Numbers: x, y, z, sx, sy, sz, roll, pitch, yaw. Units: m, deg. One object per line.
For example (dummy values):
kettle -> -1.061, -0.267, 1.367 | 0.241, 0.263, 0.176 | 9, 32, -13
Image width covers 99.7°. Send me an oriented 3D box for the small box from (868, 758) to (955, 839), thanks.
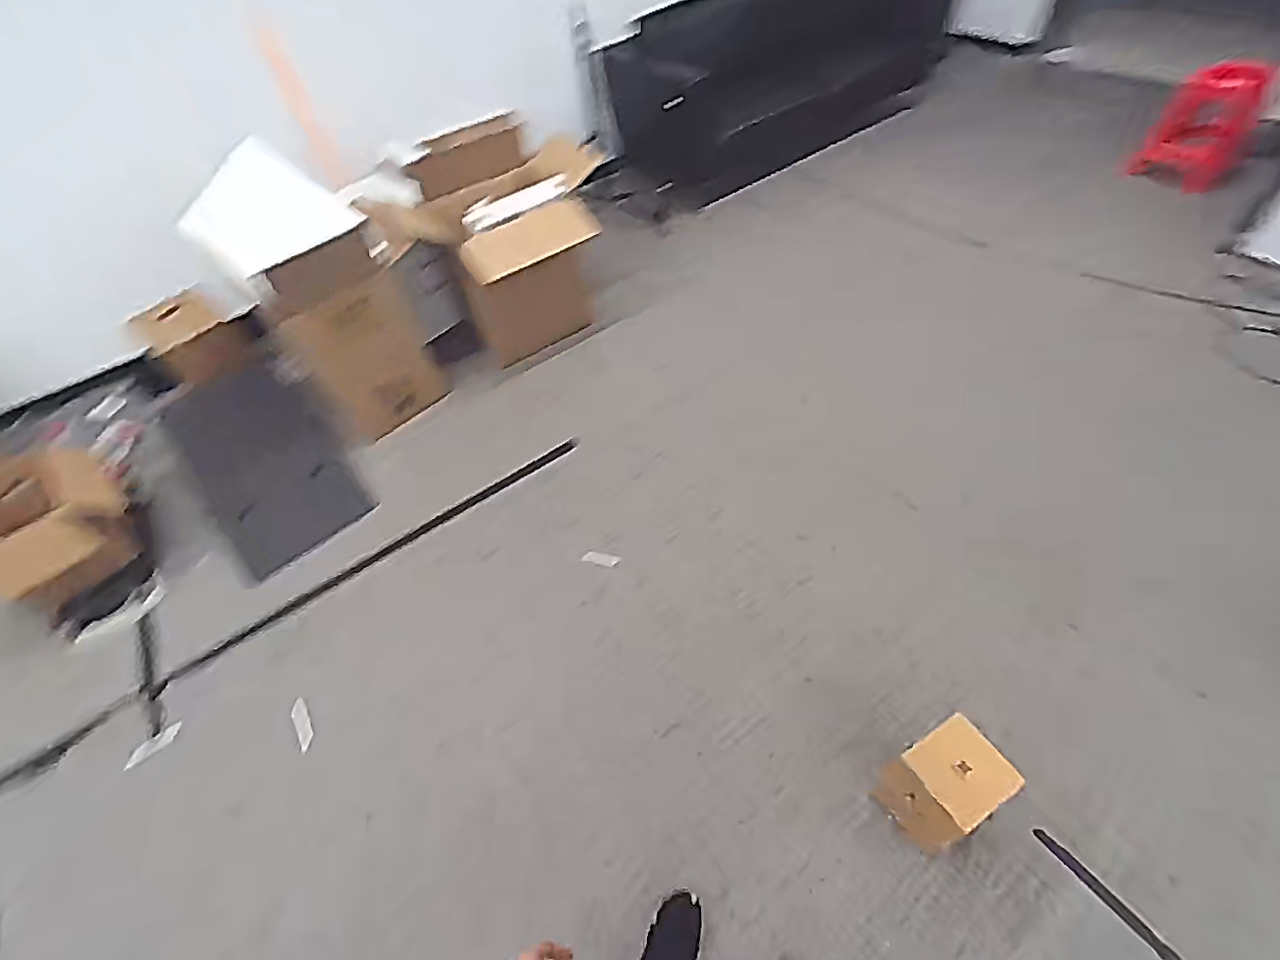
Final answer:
small box -> 0.667, 0.701, 1.264 | 0.179, 0.176, 0.168 | -29, 54, -16
